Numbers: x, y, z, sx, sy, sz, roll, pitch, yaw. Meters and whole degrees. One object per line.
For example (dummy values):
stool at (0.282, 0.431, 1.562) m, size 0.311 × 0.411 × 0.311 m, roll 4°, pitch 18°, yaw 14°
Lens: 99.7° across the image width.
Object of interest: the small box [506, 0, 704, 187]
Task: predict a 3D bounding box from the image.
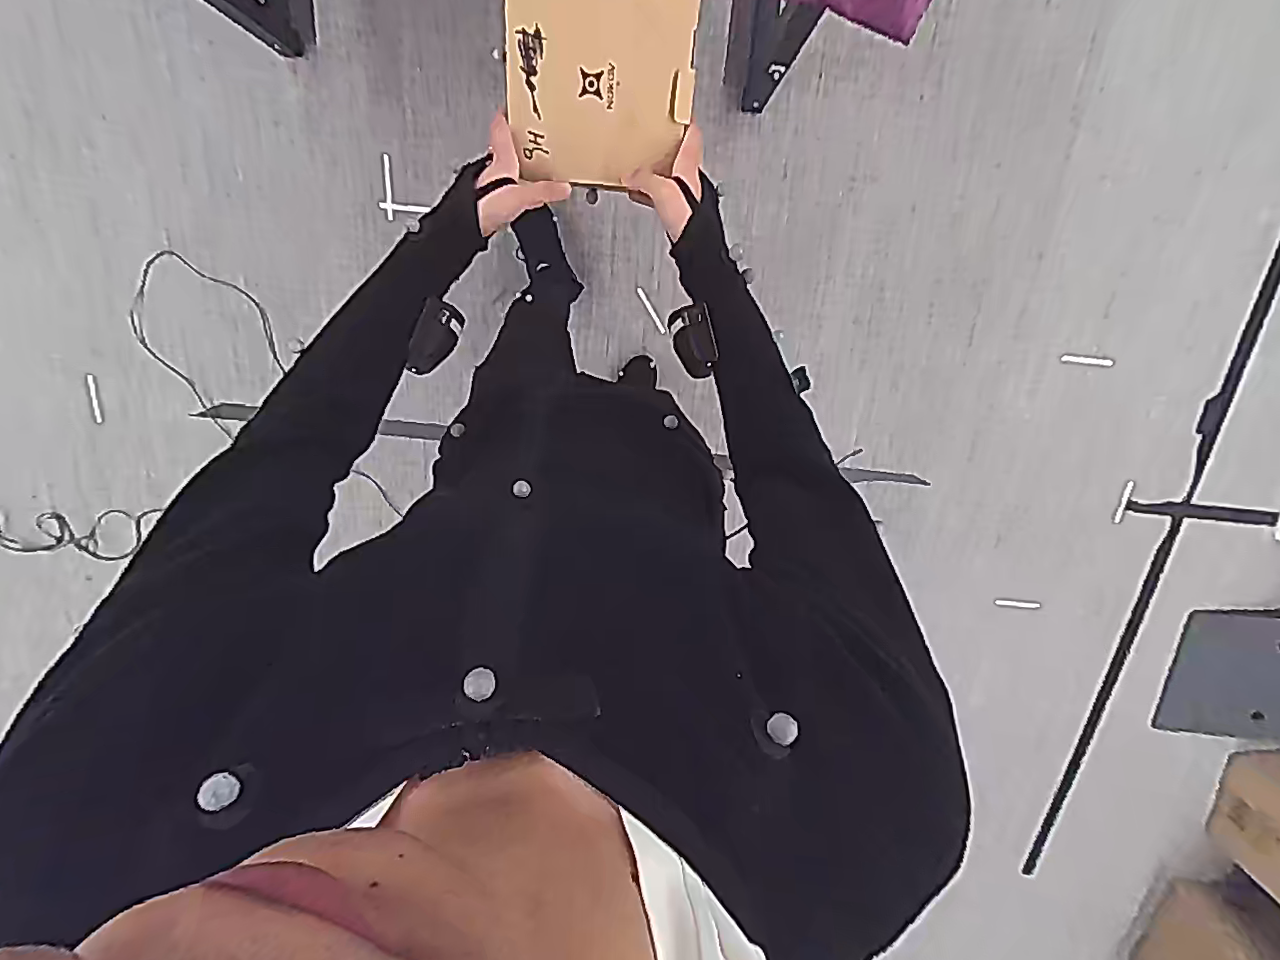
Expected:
small box at (-0.045, -0.410, 0.569) m, size 0.179 × 0.176 × 0.168 m, roll 1°, pitch 116°, yaw -8°

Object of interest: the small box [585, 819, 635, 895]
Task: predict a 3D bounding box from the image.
small box at (-0.108, 1.417, 2.032) m, size 0.168 × 0.176 × 0.179 m, roll -6°, pitch 108°, yaw 0°
